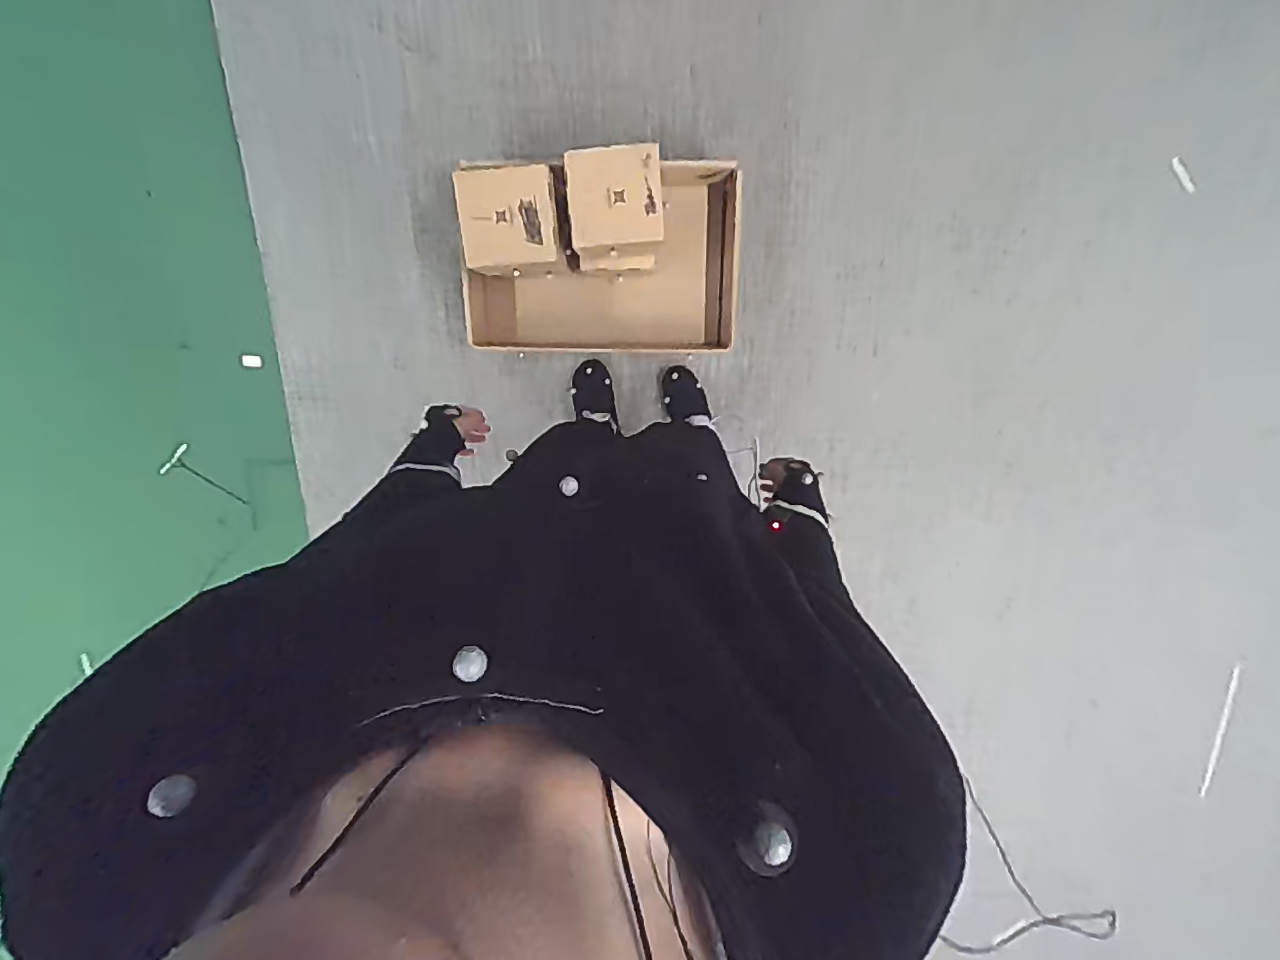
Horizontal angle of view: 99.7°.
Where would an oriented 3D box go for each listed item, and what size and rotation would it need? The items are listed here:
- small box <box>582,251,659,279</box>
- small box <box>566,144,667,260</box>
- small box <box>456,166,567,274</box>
[{"bbox_3d":[-0.040,-0.561,1.227,0.168,0.176,0.179,2,105,3],"label":"small box"},{"bbox_3d":[-0.038,-0.536,1.064,0.179,0.176,0.168,-3,105,4],"label":"small box"},{"bbox_3d":[-0.243,-0.509,1.077,0.179,0.176,0.168,-3,106,2],"label":"small box"}]
